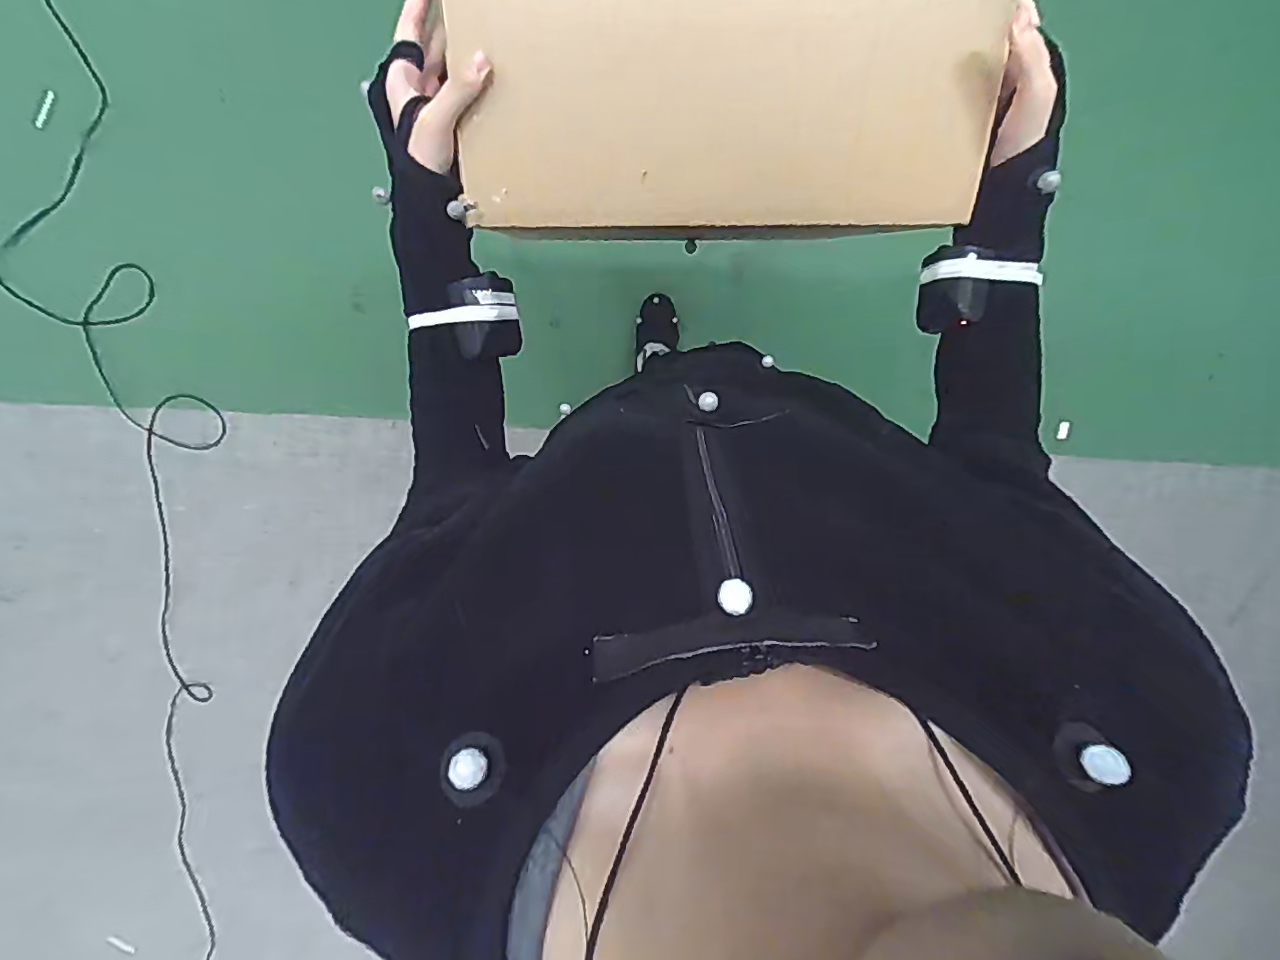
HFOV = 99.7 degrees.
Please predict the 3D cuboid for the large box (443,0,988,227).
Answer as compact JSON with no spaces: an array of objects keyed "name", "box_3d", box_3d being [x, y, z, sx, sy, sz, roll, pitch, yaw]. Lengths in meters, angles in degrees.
[{"name":"large box","box_3d":[0.051,-0.415,0.516,0.408,0.320,0.320,-2,113,-4]}]
